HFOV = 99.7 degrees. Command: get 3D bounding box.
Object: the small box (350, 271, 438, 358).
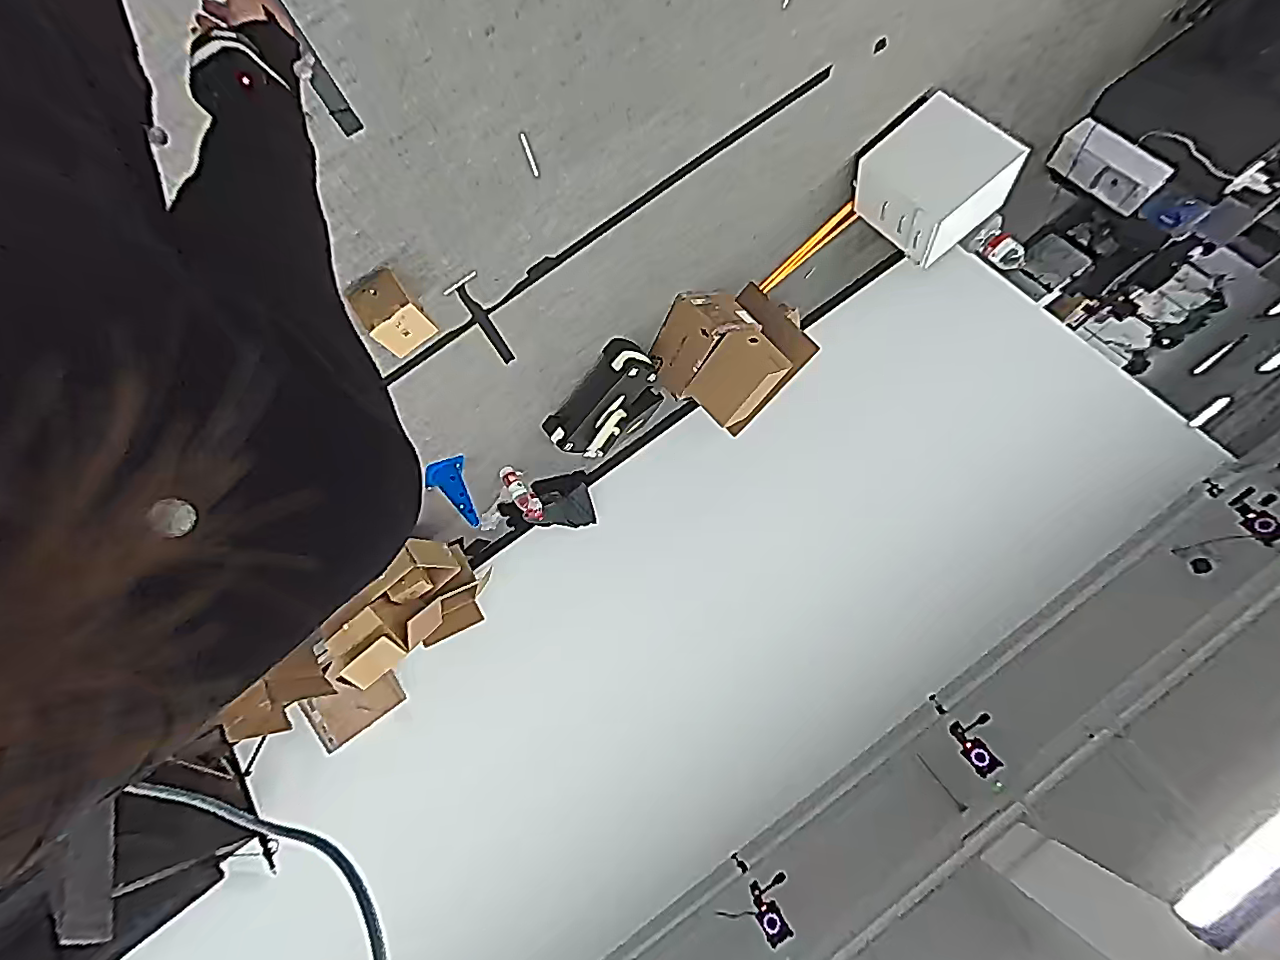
[{"bbox_3d":[-0.811,-0.547,1.783,0.168,0.176,0.179,-37,160,-1],"label":"small box"}]
